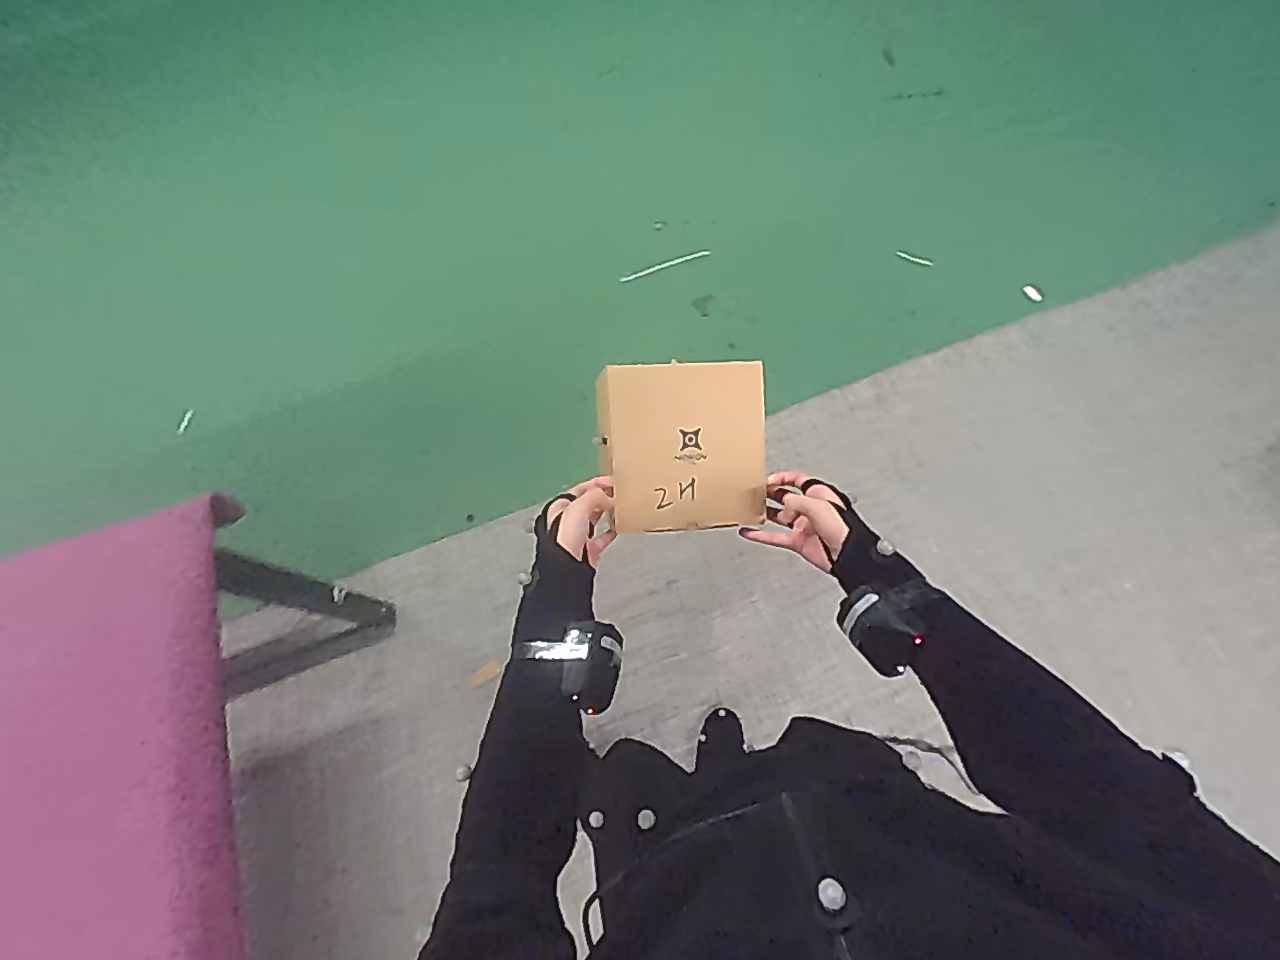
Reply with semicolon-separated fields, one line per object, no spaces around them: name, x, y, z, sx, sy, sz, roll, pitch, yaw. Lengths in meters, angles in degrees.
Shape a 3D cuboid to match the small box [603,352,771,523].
small box;0.045;-0.051;0.635;0.168;0.176;0.179;-2;96;-7
